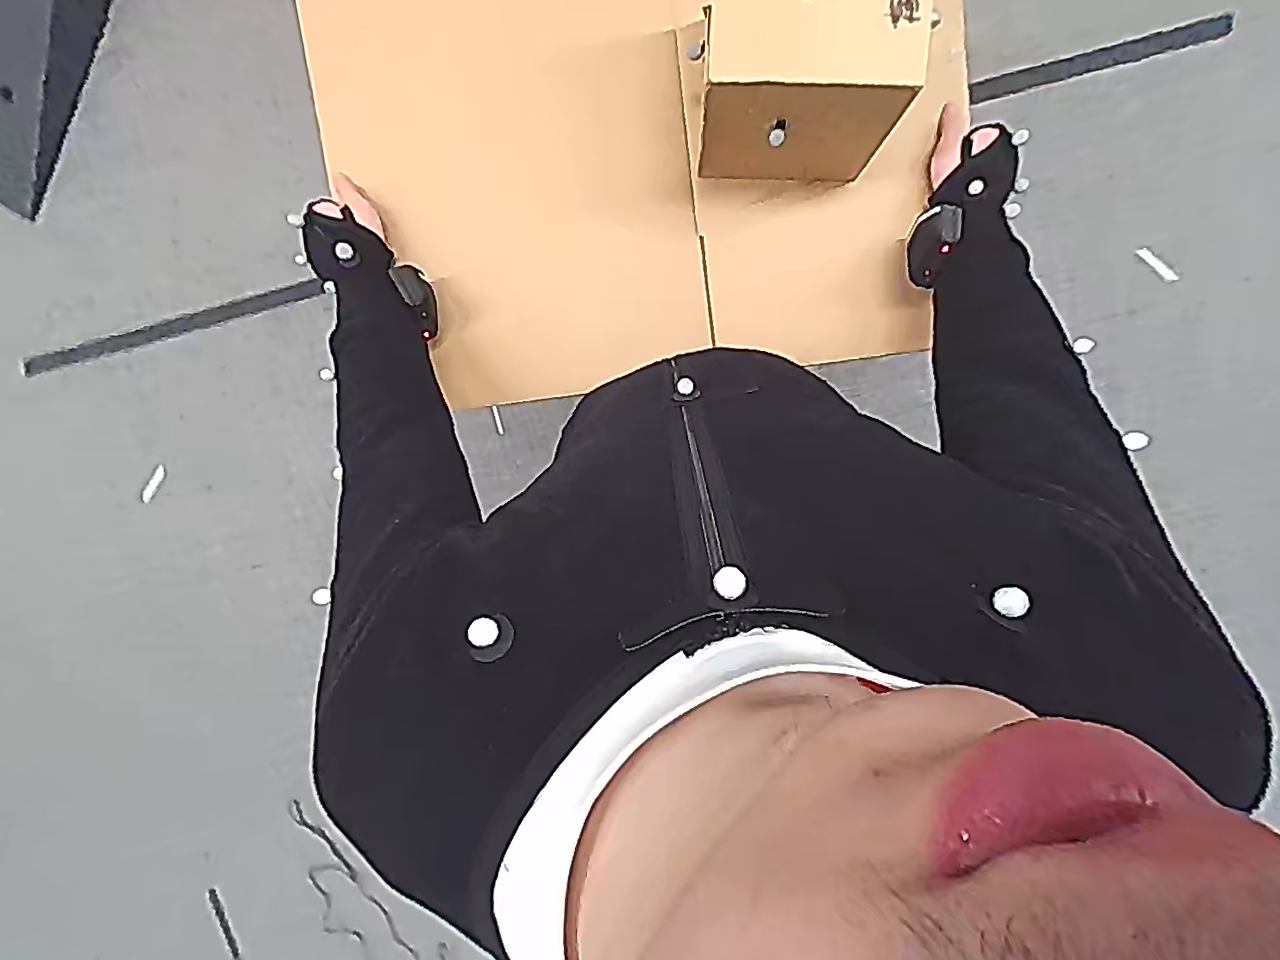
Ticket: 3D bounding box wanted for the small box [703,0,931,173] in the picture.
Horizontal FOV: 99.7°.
[{"bbox_3d":[0.153,-0.412,0.511,0.179,0.176,0.168,4,97,4],"label":"small box"}]
